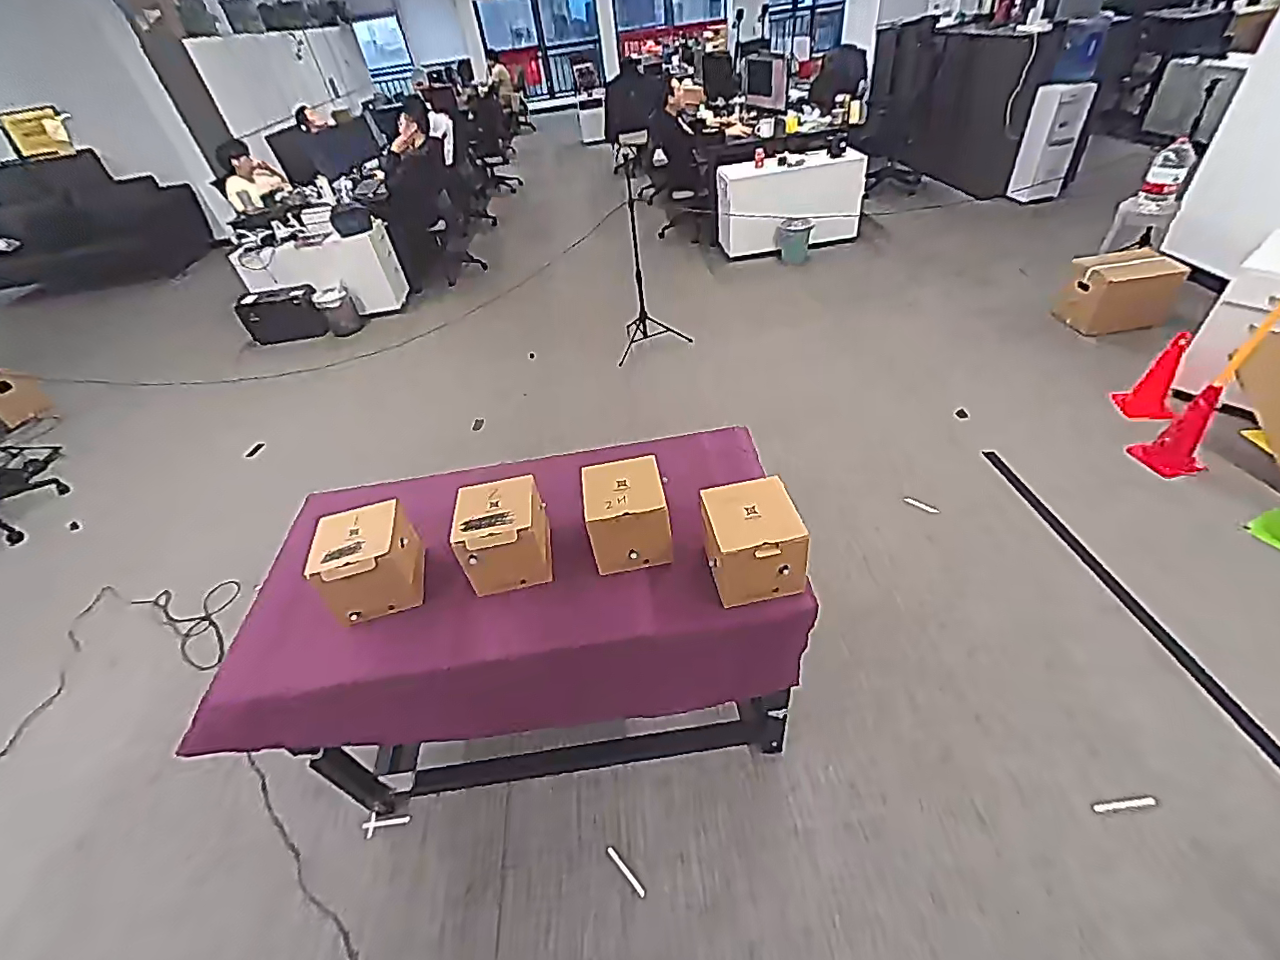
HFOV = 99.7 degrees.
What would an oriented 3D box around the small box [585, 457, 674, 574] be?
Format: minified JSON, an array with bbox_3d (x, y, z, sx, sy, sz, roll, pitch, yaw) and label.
[{"bbox_3d":[-0.024,0.077,1.171,0.168,0.176,0.179,-10,41,0],"label":"small box"}]

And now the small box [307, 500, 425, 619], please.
[{"bbox_3d":[-0.573,0.175,1.157,0.168,0.176,0.179,-15,41,-7],"label":"small box"}]

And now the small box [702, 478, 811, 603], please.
[{"bbox_3d":[0.225,0.125,1.073,0.168,0.176,0.179,-10,40,-2],"label":"small box"}]
